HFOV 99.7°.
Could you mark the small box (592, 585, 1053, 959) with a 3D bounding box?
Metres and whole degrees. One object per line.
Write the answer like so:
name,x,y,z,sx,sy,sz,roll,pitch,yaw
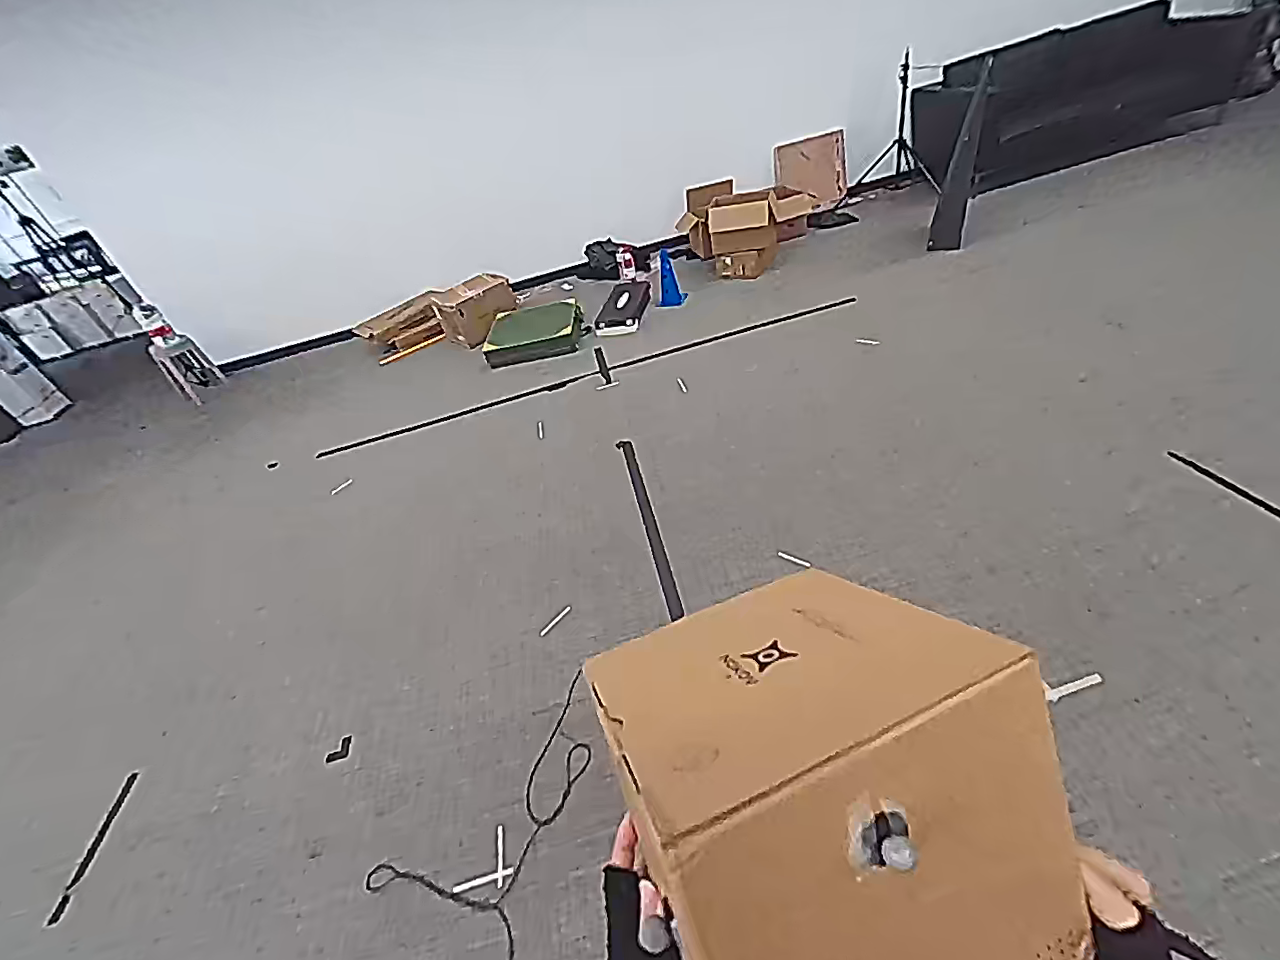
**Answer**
small box,0.090,0.184,0.310,0.179,0.176,0.168,-18,7,-14
